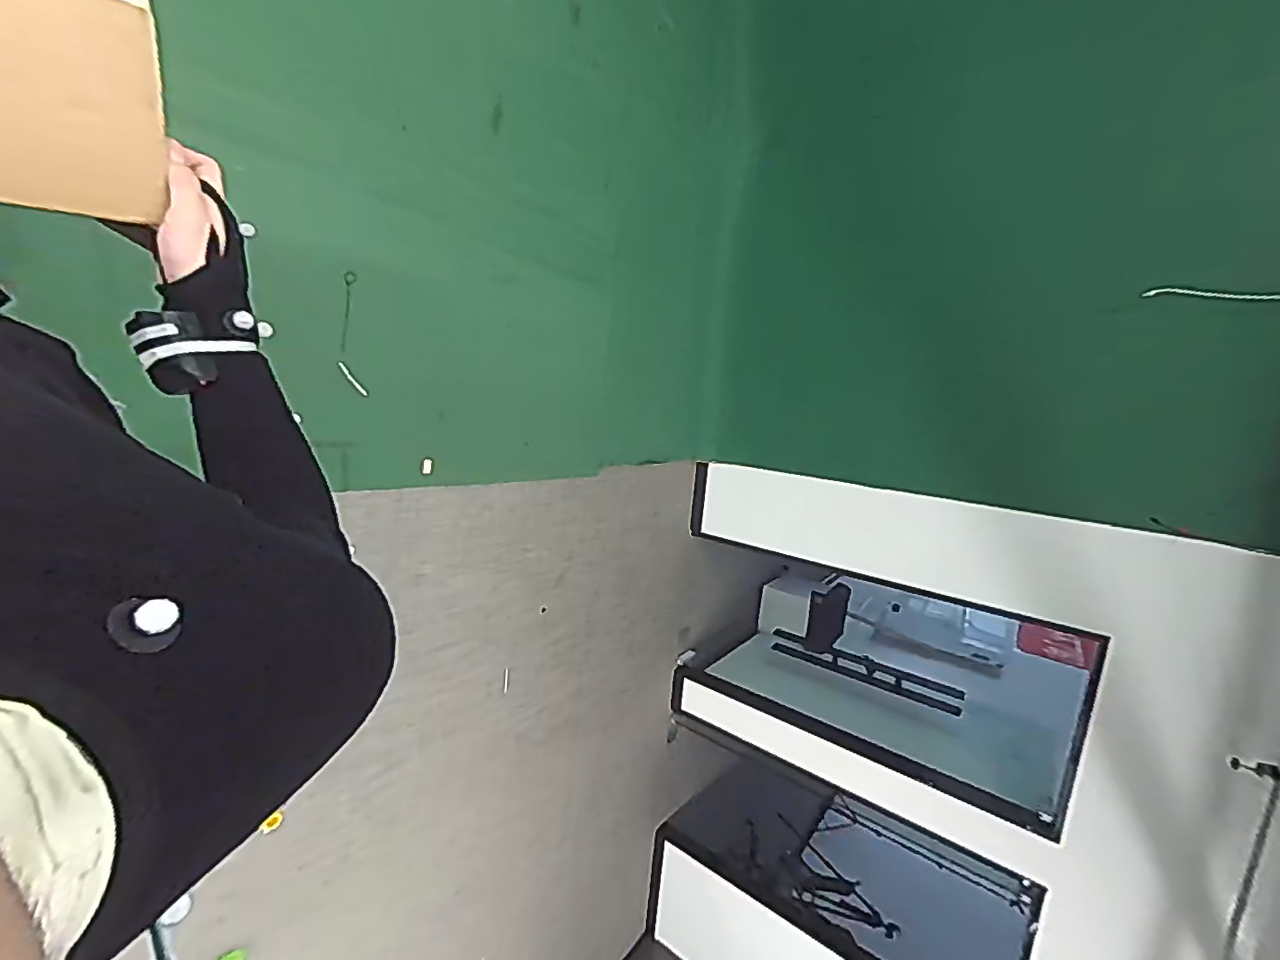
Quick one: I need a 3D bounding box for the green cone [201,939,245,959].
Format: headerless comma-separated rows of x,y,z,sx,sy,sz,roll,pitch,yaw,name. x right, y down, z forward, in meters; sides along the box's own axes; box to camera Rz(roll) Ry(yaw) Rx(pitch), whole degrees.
-1.141,1.513,1.479,0.200,0.368,0.202,4,95,-55,green cone
